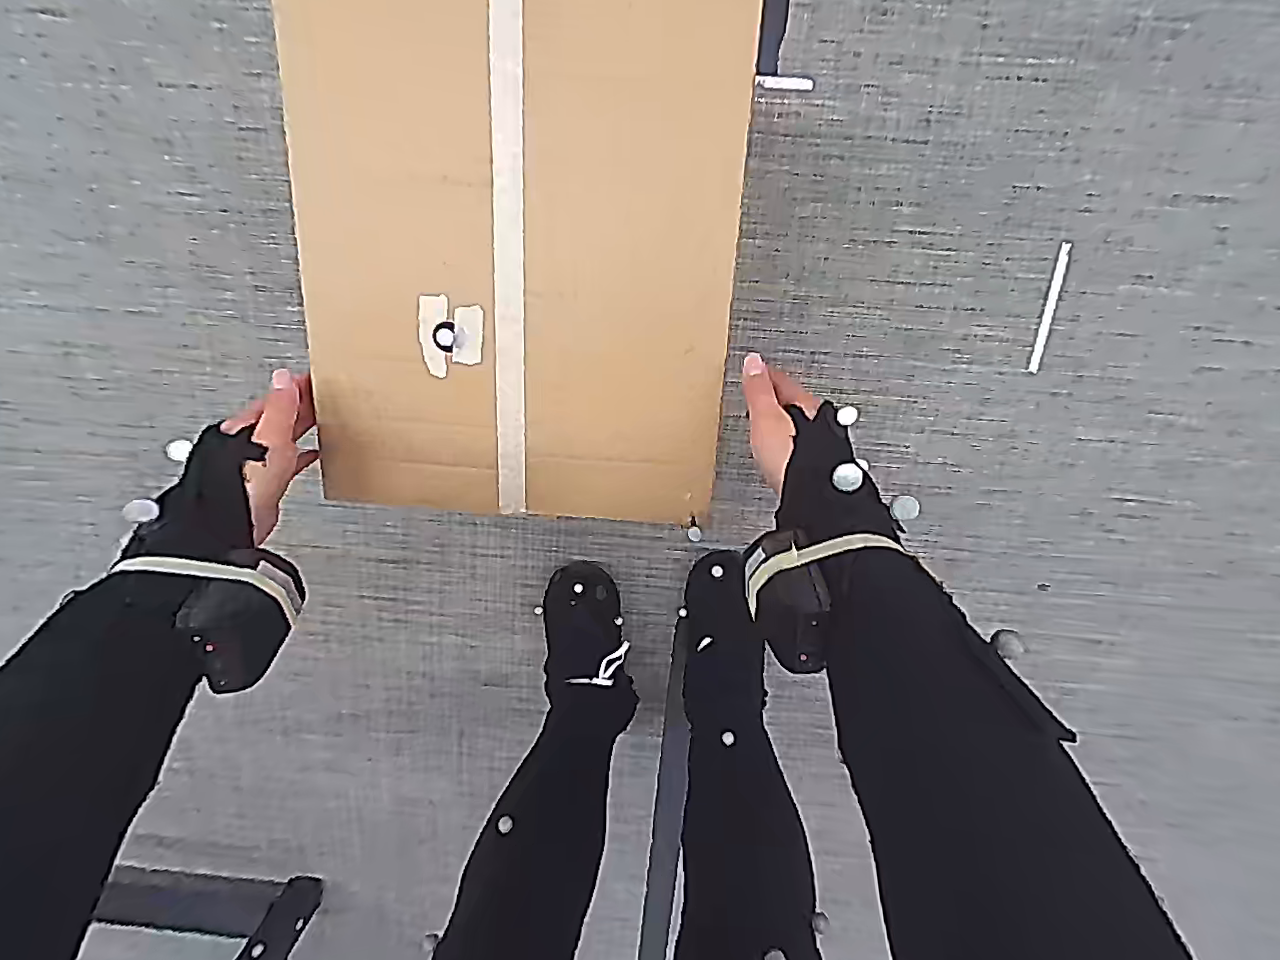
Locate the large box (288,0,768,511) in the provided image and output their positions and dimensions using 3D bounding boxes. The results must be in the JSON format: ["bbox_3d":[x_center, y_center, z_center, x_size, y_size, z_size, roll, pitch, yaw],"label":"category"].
[{"bbox_3d":[-0.072,-0.214,0.524,0.320,0.320,0.408,3,106,3],"label":"large box"}]
